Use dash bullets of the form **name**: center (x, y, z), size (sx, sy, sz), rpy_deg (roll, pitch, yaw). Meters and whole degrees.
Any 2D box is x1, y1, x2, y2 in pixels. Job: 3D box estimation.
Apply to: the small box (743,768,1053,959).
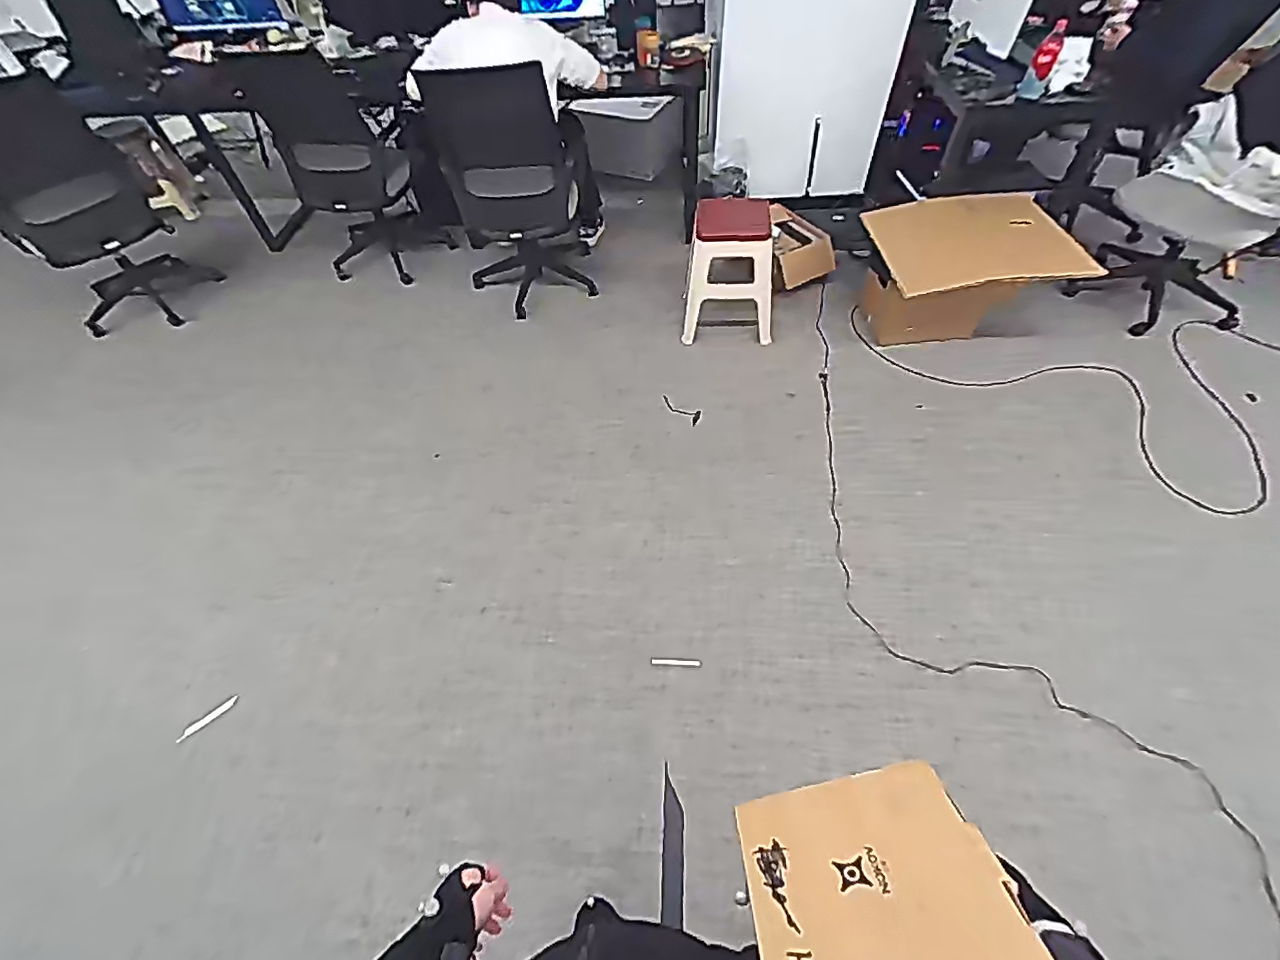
- **small box**: center (0.195, 0.372, 0.428), size (0.179, 0.176, 0.168), rpy_deg (-15, 14, 6)
